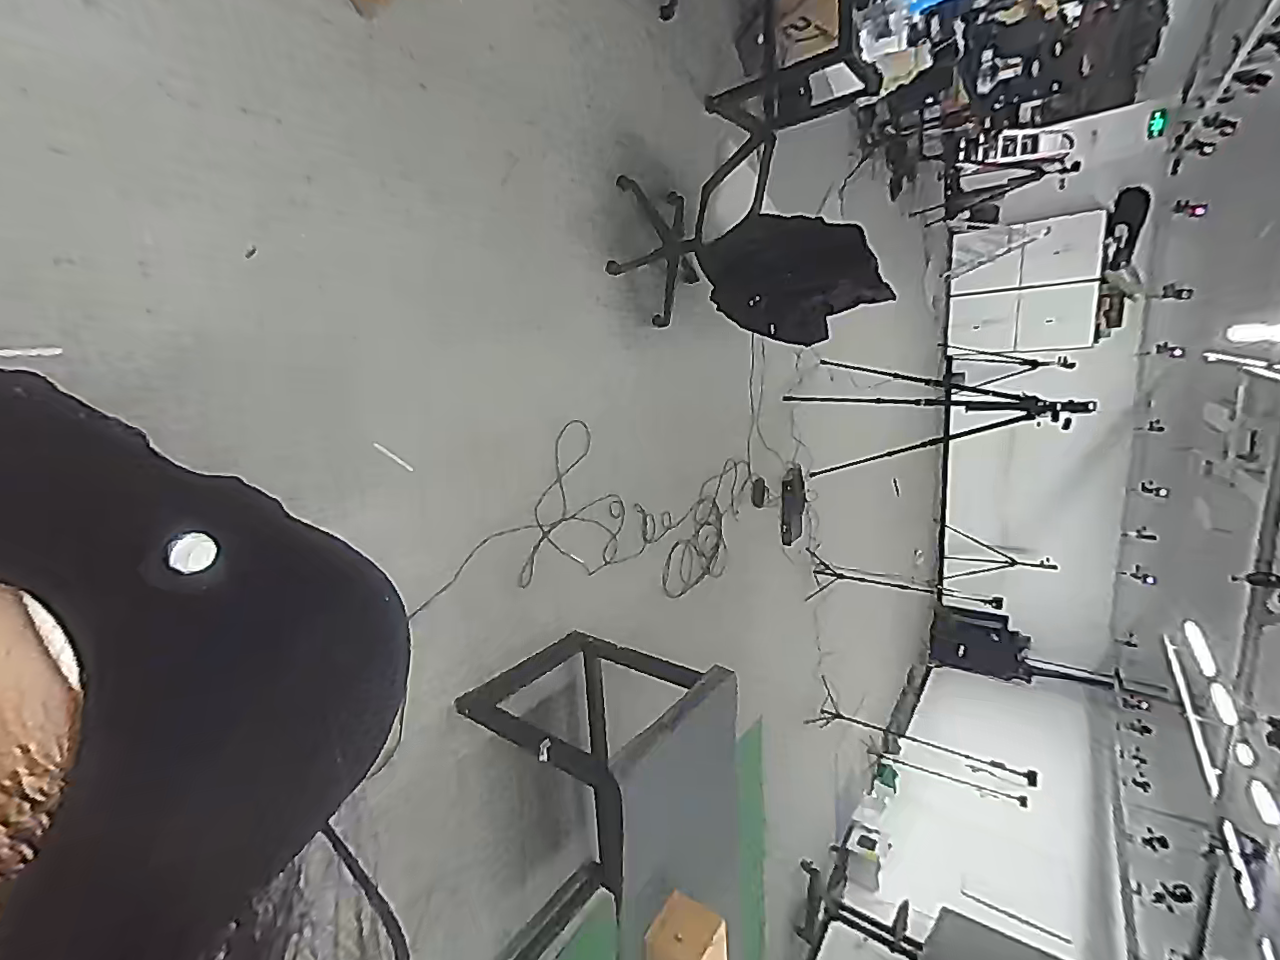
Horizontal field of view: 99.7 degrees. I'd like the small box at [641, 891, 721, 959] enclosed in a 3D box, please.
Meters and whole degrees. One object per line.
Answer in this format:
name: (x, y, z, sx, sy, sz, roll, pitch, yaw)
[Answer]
small box: (0.114, 1.306, 1.516, 0.168, 0.176, 0.179, -19, 109, -52)
